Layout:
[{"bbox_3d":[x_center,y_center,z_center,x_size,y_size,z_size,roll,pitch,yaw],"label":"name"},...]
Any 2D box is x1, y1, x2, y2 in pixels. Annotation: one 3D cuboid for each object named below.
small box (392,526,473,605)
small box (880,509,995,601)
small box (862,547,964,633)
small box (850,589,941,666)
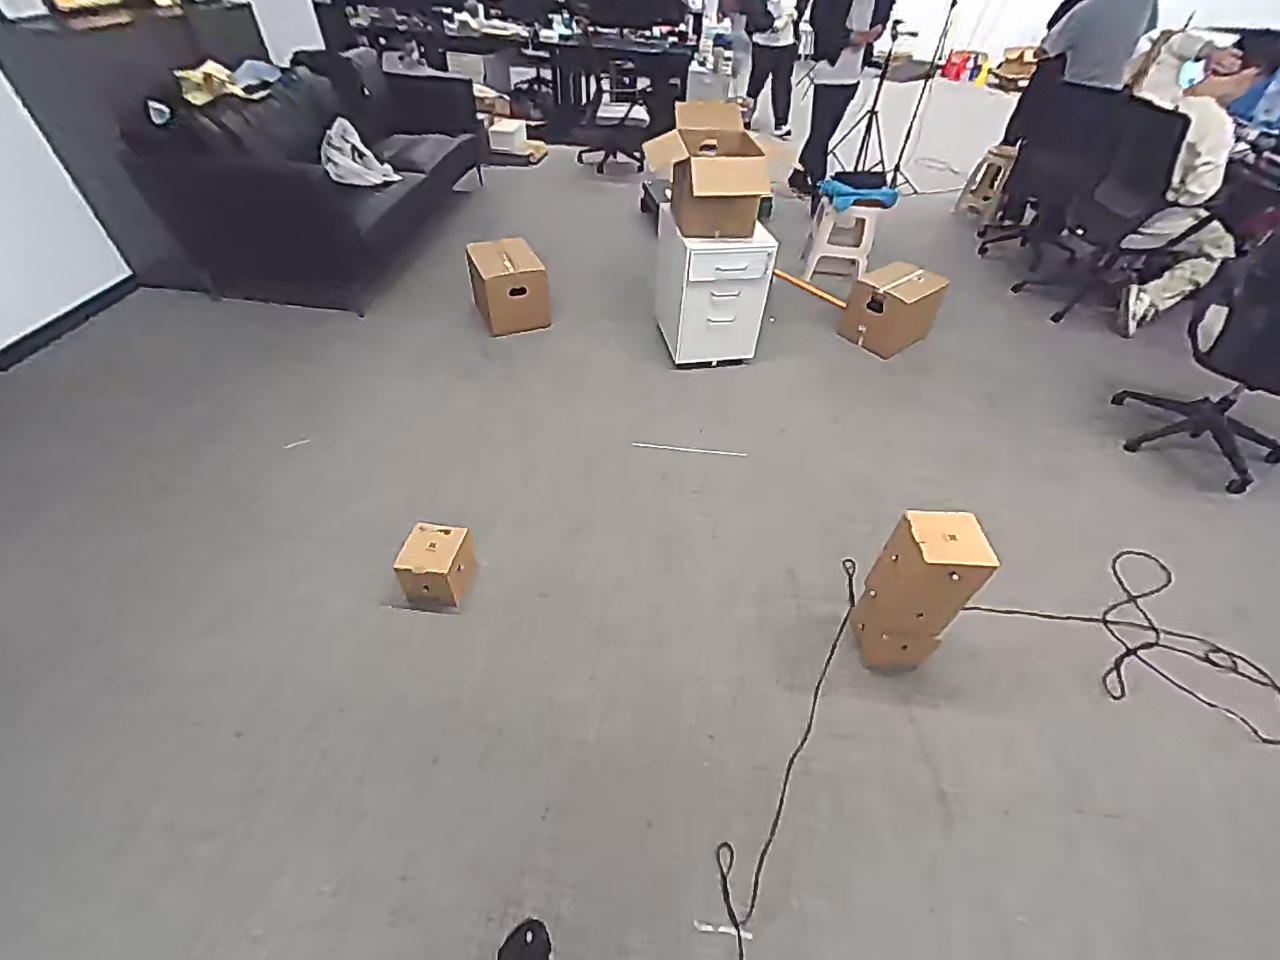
[{"bbox_3d":[-0.634,0.269,1.683,0.168,0.176,0.179,7,45,4],"label":"small box"},{"bbox_3d":[0.739,0.192,1.364,0.179,0.176,0.168,2,44,0],"label":"small box"},{"bbox_3d":[0.738,0.304,1.482,0.179,0.176,0.168,3,44,1],"label":"small box"},{"bbox_3d":[0.735,0.433,1.584,0.179,0.176,0.168,1,45,-3],"label":"small box"}]
